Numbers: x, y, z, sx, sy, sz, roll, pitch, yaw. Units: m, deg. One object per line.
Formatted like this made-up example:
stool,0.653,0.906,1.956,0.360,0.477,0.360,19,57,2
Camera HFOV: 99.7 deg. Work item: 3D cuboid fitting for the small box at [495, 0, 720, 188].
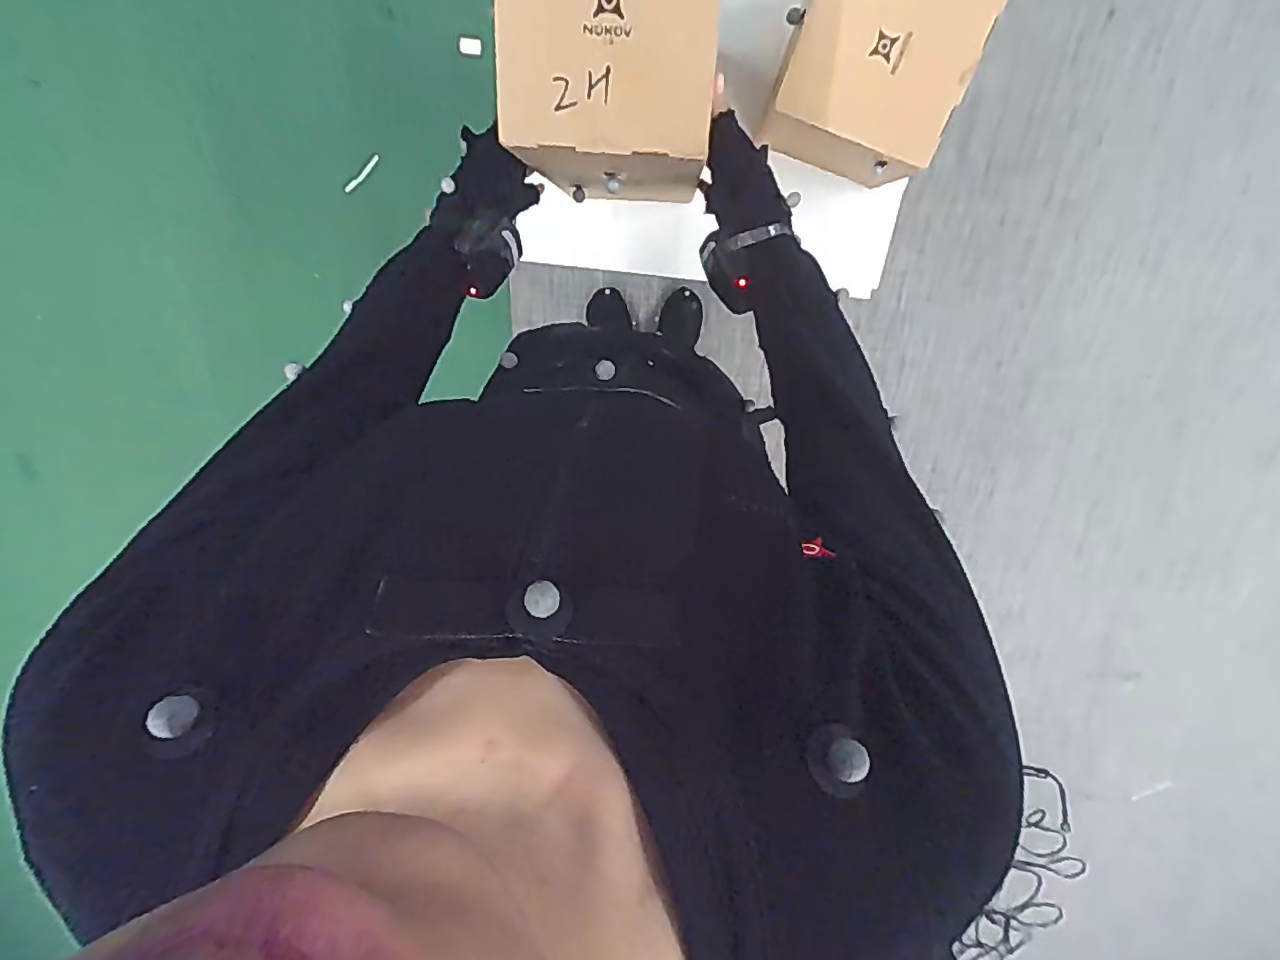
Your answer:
small box,-0.022,-0.368,0.467,0.168,0.176,0.179,5,112,1

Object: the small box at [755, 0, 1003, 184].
small box,0.244,-0.450,0.601,0.179,0.176,0.168,18,112,-4
